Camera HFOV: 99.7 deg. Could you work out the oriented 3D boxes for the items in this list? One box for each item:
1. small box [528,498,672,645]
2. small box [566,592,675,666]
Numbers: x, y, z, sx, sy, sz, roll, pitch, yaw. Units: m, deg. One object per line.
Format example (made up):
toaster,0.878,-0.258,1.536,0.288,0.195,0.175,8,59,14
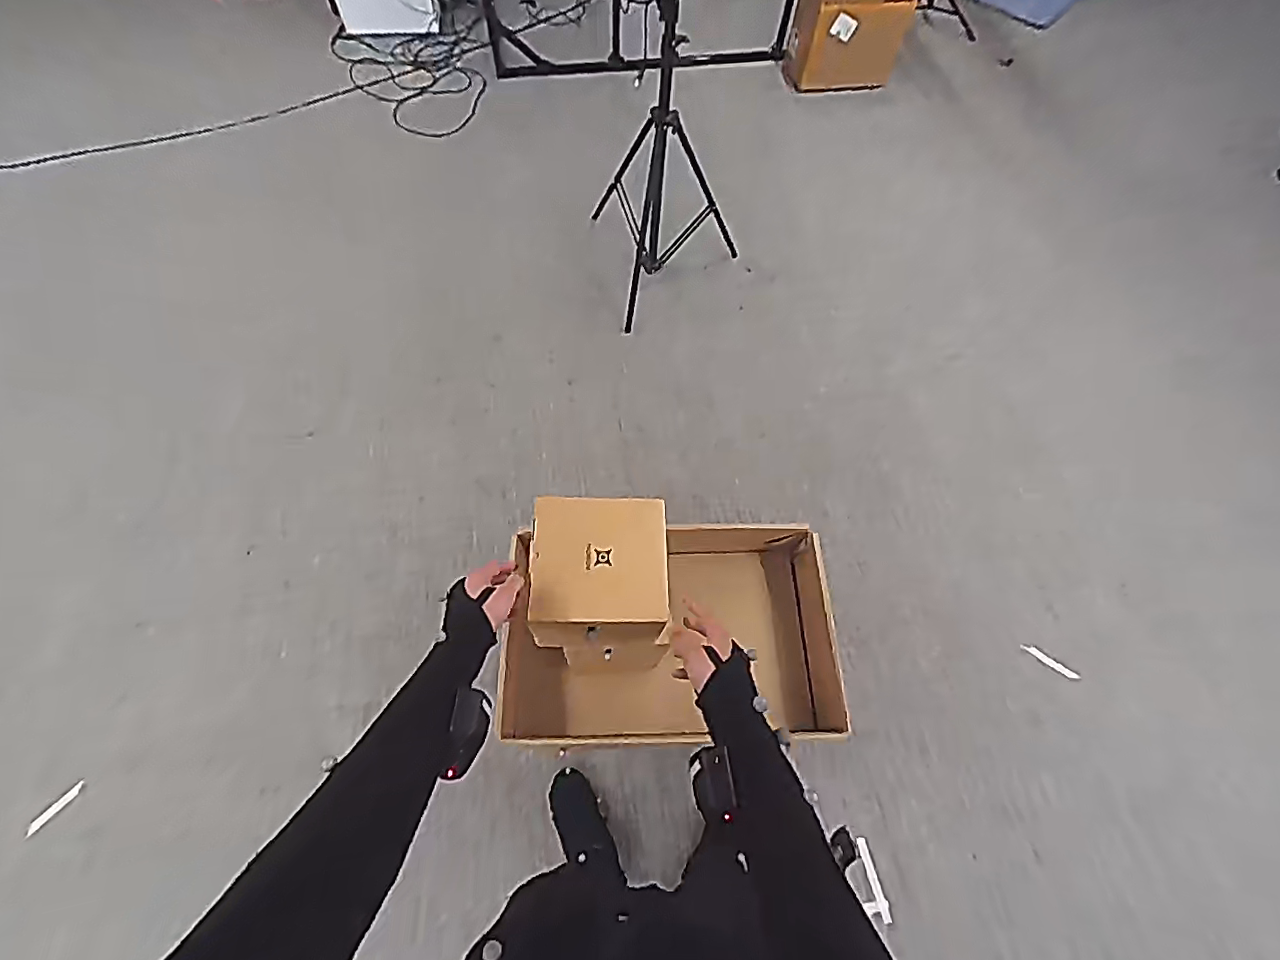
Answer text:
small box,-0.055,0.133,0.758,0.179,0.176,0.168,0,64,-4
small box,-0.039,0.204,0.905,0.168,0.176,0.179,-2,64,-5
